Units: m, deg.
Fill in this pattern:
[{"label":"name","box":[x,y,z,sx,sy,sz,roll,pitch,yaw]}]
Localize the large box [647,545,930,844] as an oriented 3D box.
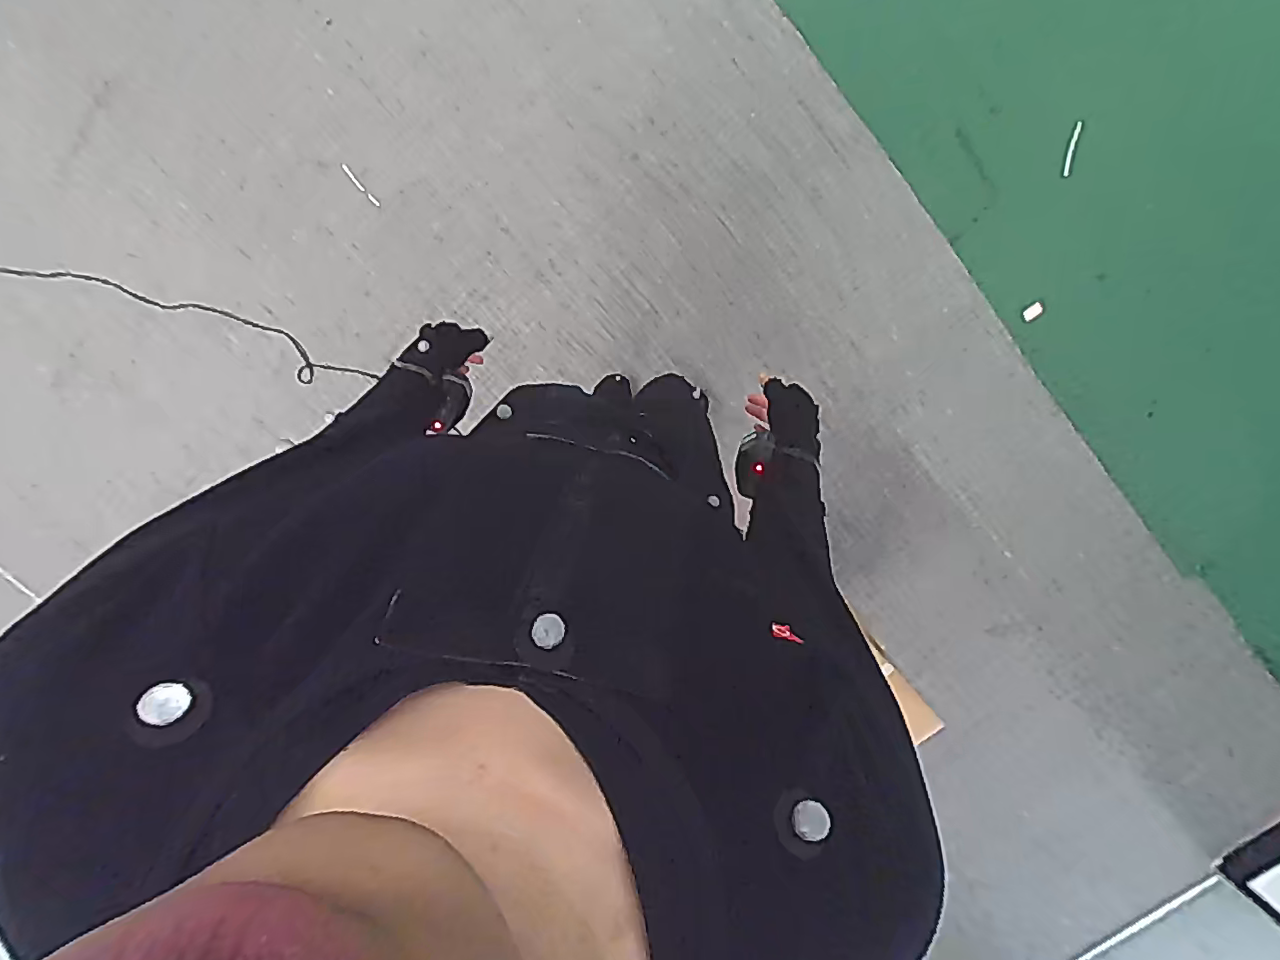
[{"label":"large box","box":[0.260,0.402,1.089,0.408,0.320,0.320,-41,97,8]}]
